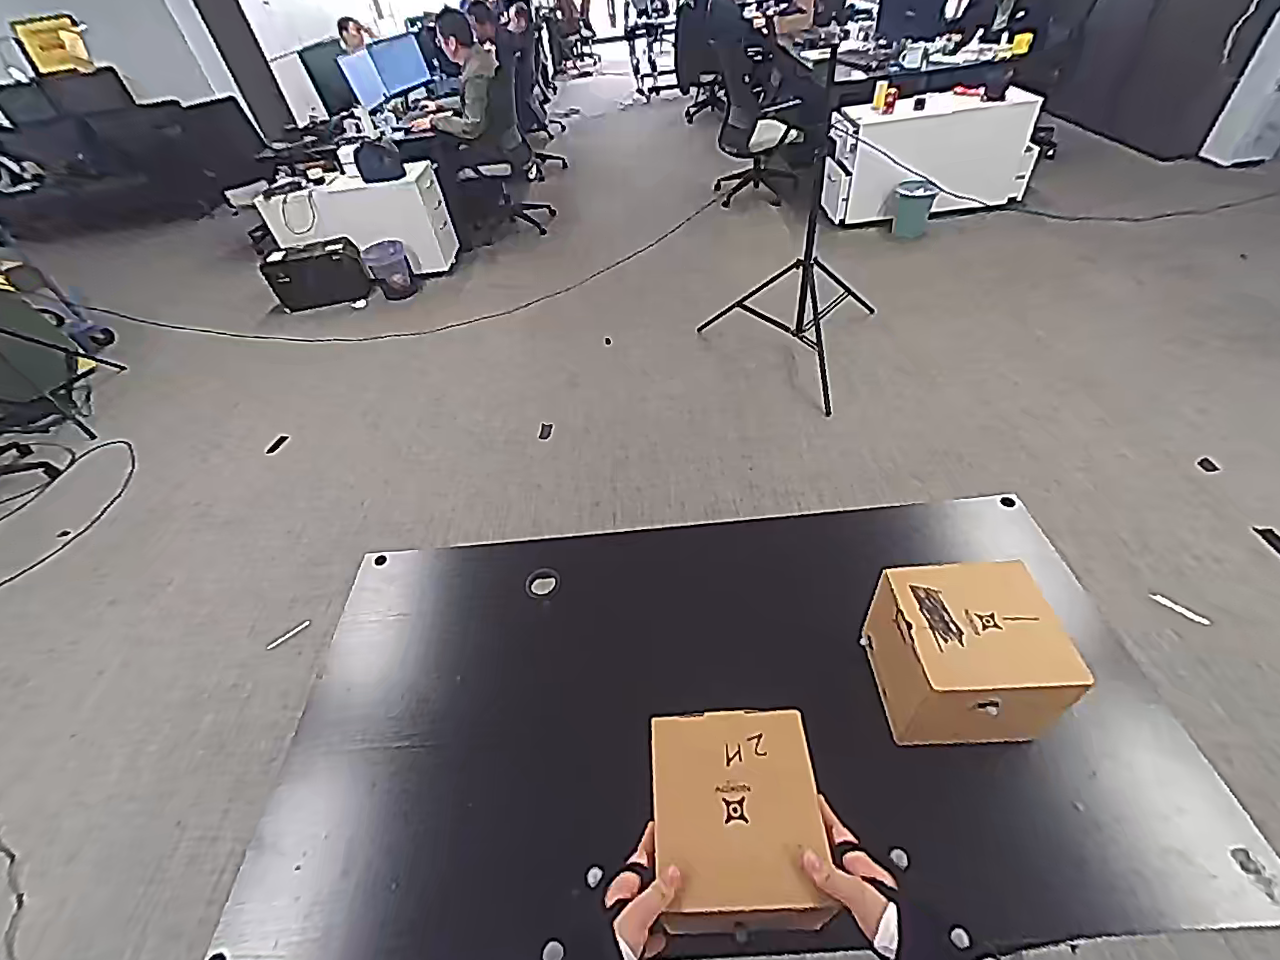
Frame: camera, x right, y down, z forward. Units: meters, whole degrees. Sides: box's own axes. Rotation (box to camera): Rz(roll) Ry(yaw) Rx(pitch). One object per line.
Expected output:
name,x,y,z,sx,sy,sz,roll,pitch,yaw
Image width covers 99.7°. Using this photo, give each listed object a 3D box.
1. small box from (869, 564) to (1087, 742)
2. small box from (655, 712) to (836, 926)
small box,0.415,0.230,0.708,0.179,0.176,0.168,-4,45,4
small box,0.107,0.382,0.606,0.168,0.176,0.179,-4,45,4
